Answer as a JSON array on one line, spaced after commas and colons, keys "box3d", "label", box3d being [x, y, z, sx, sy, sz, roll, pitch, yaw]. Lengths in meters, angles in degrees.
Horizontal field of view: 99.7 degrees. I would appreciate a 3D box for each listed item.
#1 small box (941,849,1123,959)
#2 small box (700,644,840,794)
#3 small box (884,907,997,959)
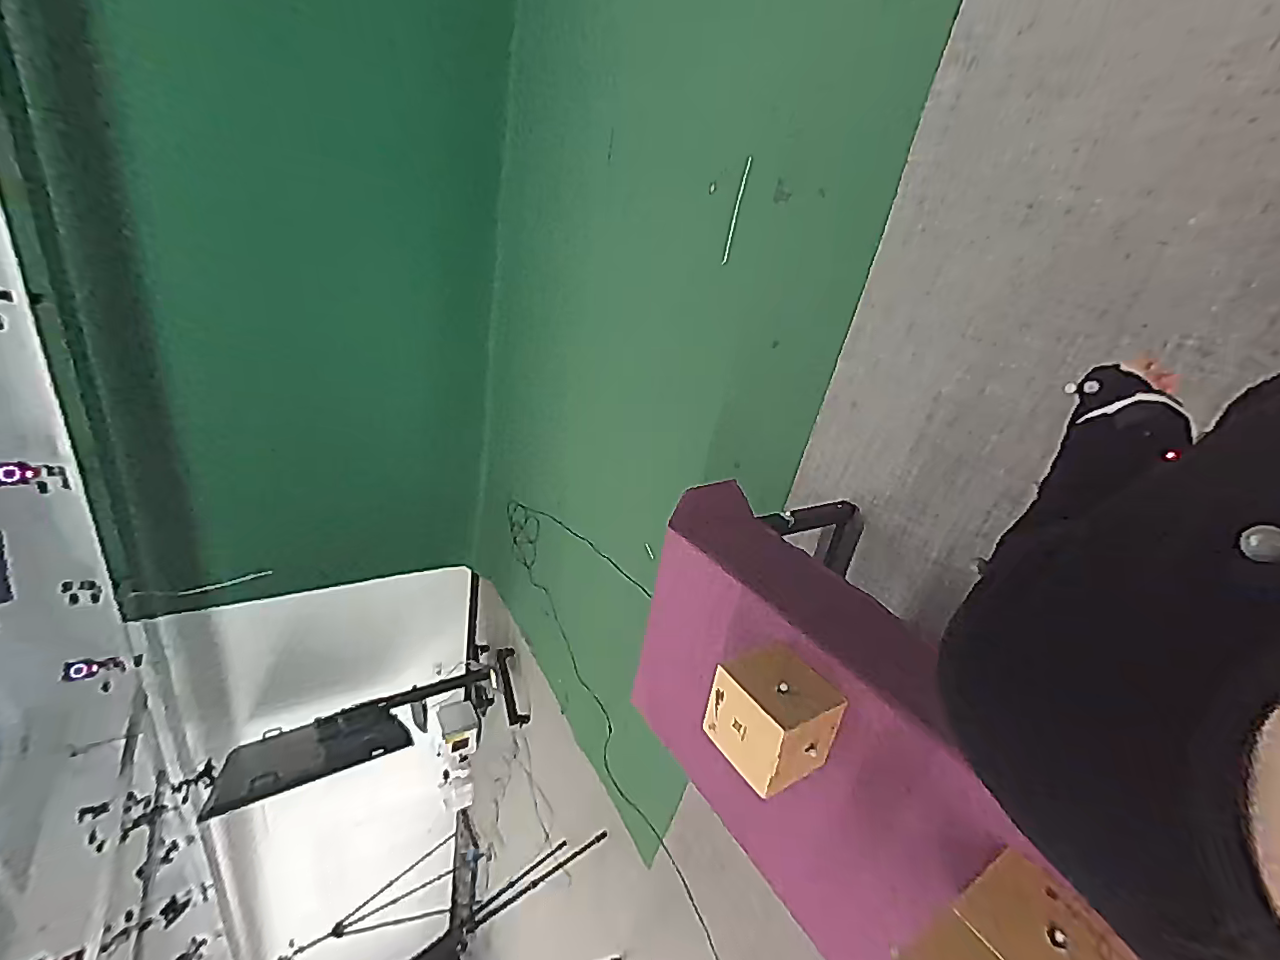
[{"box3d": [0.483, 0.632, 0.700, 0.168, 0.176, 0.179, 38, 126, 48], "label": "small box"}, {"box3d": [0.245, 0.438, 1.025, 0.179, 0.176, 0.168, 36, 124, 47], "label": "small box"}, {"box3d": [0.348, 0.646, 0.607, 0.179, 0.176, 0.168, 38, 125, 48], "label": "small box"}]
